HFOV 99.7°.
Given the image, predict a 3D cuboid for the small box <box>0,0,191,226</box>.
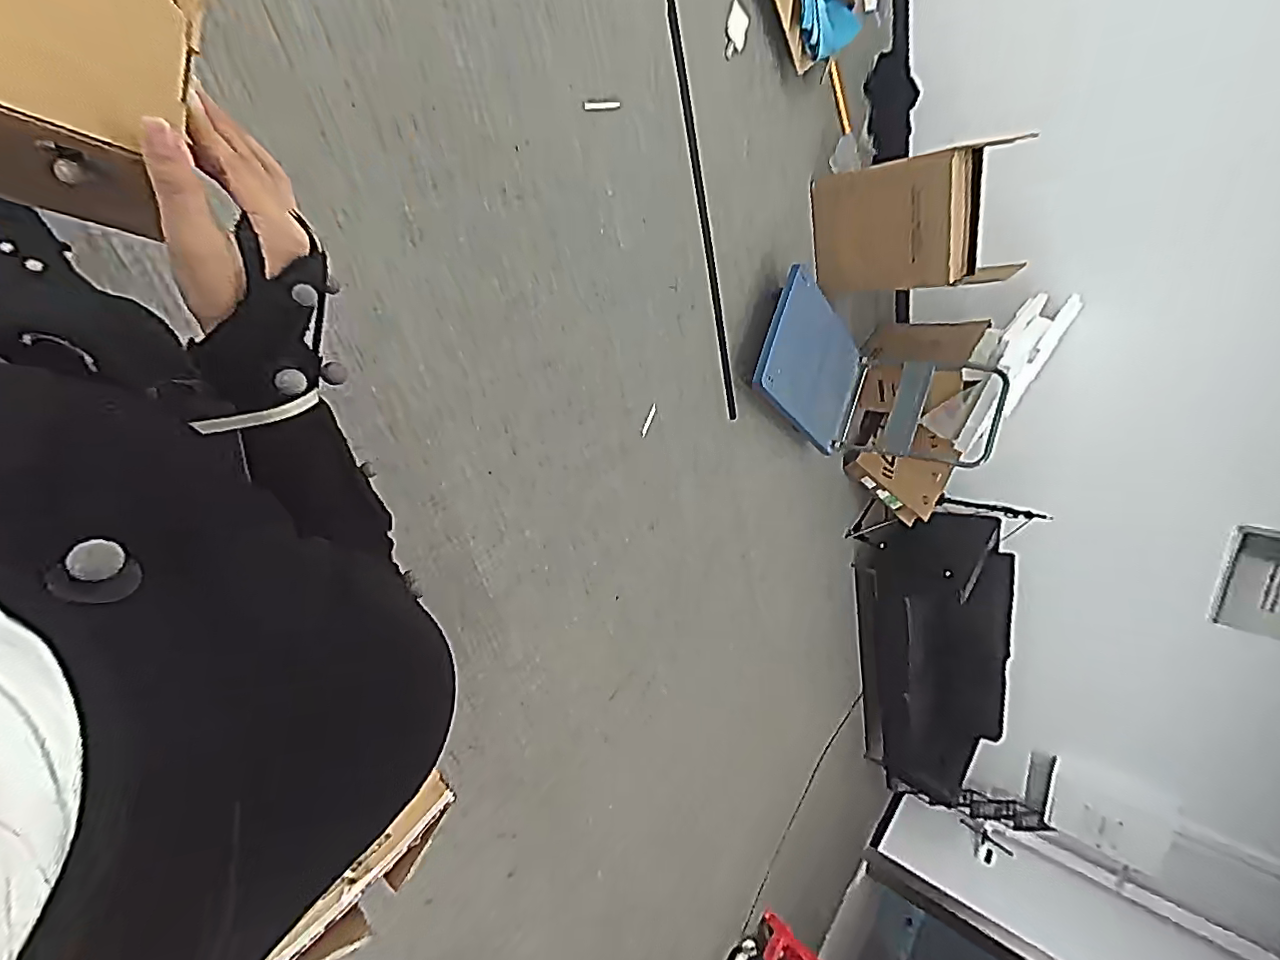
[{"bbox_3d":[-0.344,-0.252,0.270,0.179,0.176,0.168,6,92,-44],"label":"small box"}]
